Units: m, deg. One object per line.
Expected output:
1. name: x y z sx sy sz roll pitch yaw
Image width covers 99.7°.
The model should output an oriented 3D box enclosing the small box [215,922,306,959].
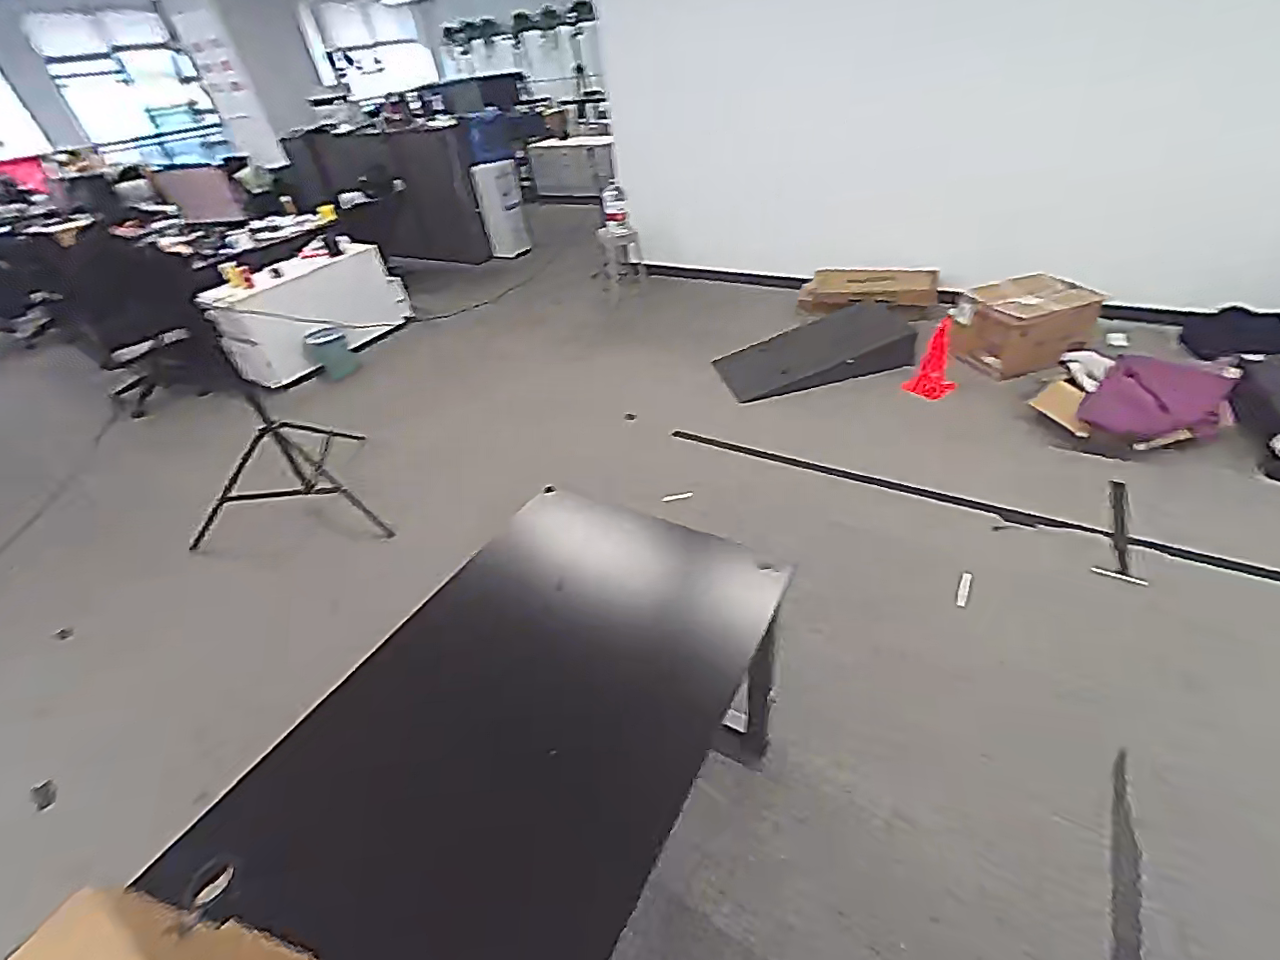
1. small box: -0.382 0.575 0.500 0.168 0.176 0.179 17 44 28

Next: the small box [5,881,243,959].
1. small box: -0.400 0.451 0.396 0.179 0.176 0.168 17 46 27
